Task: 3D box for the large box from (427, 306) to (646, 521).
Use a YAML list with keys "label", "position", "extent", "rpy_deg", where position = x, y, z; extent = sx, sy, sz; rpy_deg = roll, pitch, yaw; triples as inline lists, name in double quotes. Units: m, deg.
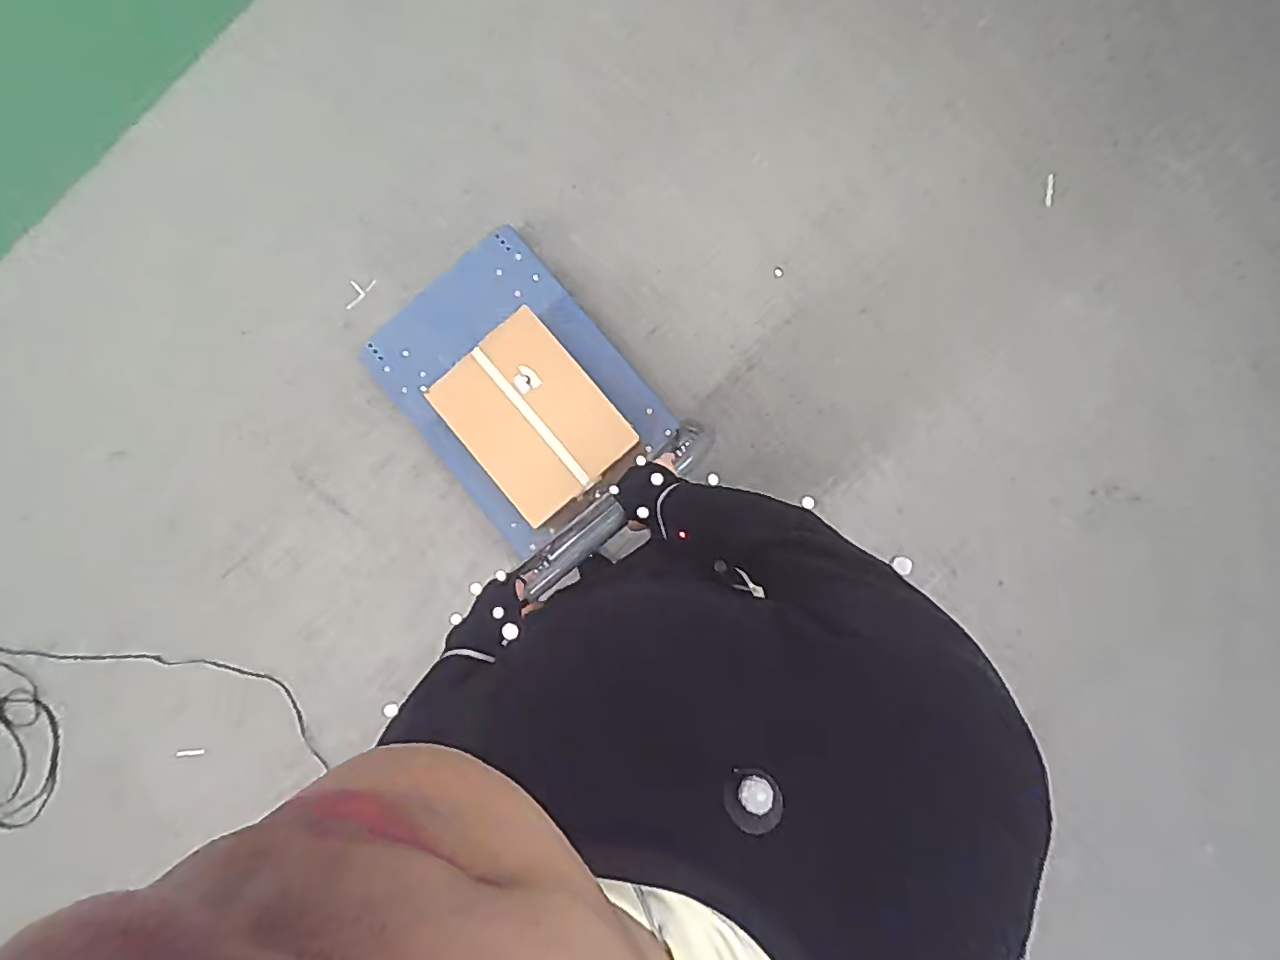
- label: "large box"
  position: [-0.235, -0.145, 1.363]
  extent: [0.320, 0.320, 0.408]
  rpy_deg: [-40, 85, 1]
